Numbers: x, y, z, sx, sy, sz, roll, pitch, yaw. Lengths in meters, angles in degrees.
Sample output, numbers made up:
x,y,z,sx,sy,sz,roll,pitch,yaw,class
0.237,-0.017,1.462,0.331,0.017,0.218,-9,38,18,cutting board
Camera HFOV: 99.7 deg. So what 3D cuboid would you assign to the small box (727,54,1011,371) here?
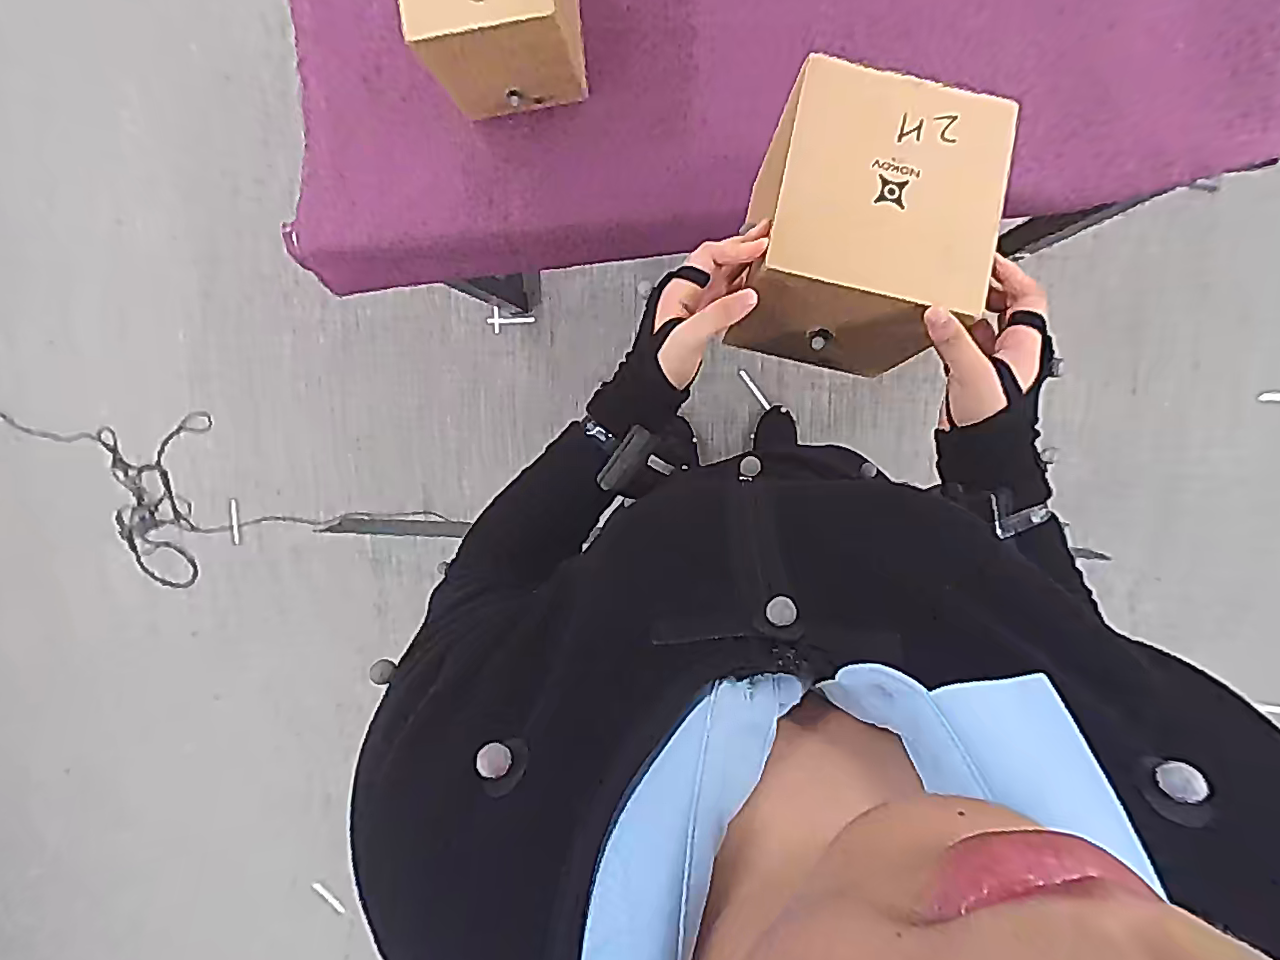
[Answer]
x,y,z,sx,sy,sz,roll,pitch,yaw,class
0.183,-0.214,0.481,0.168,0.176,0.179,12,82,-2,small box
